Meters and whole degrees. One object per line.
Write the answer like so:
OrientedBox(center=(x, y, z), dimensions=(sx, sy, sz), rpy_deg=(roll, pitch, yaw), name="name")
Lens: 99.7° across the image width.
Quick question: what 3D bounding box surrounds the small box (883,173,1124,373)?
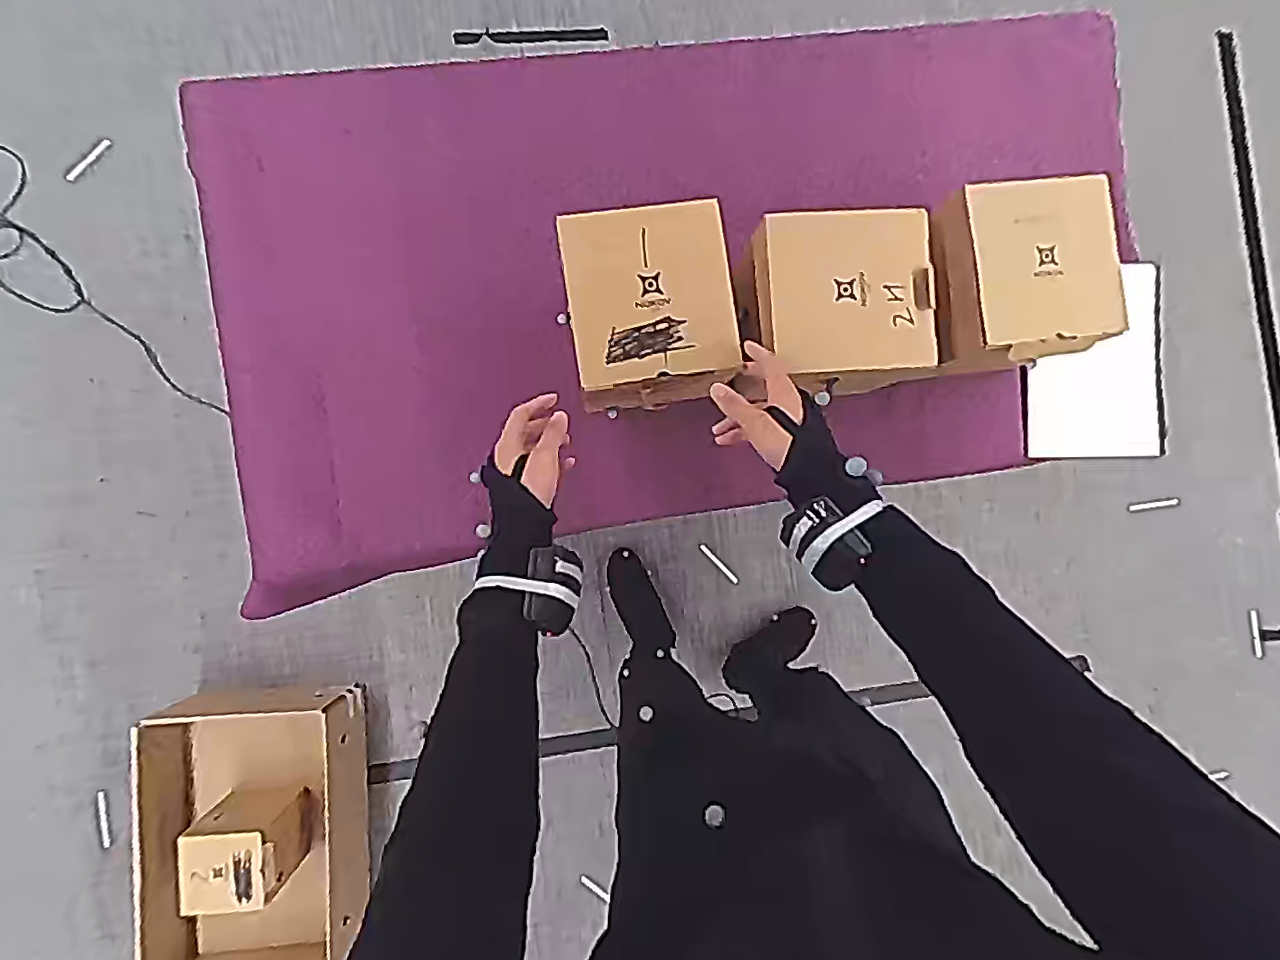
OrientedBox(center=(0.418, -0.231, 0.648), dimensions=(0.168, 0.176, 0.179), rpy_deg=(-6, 89, -5), name="small box")
